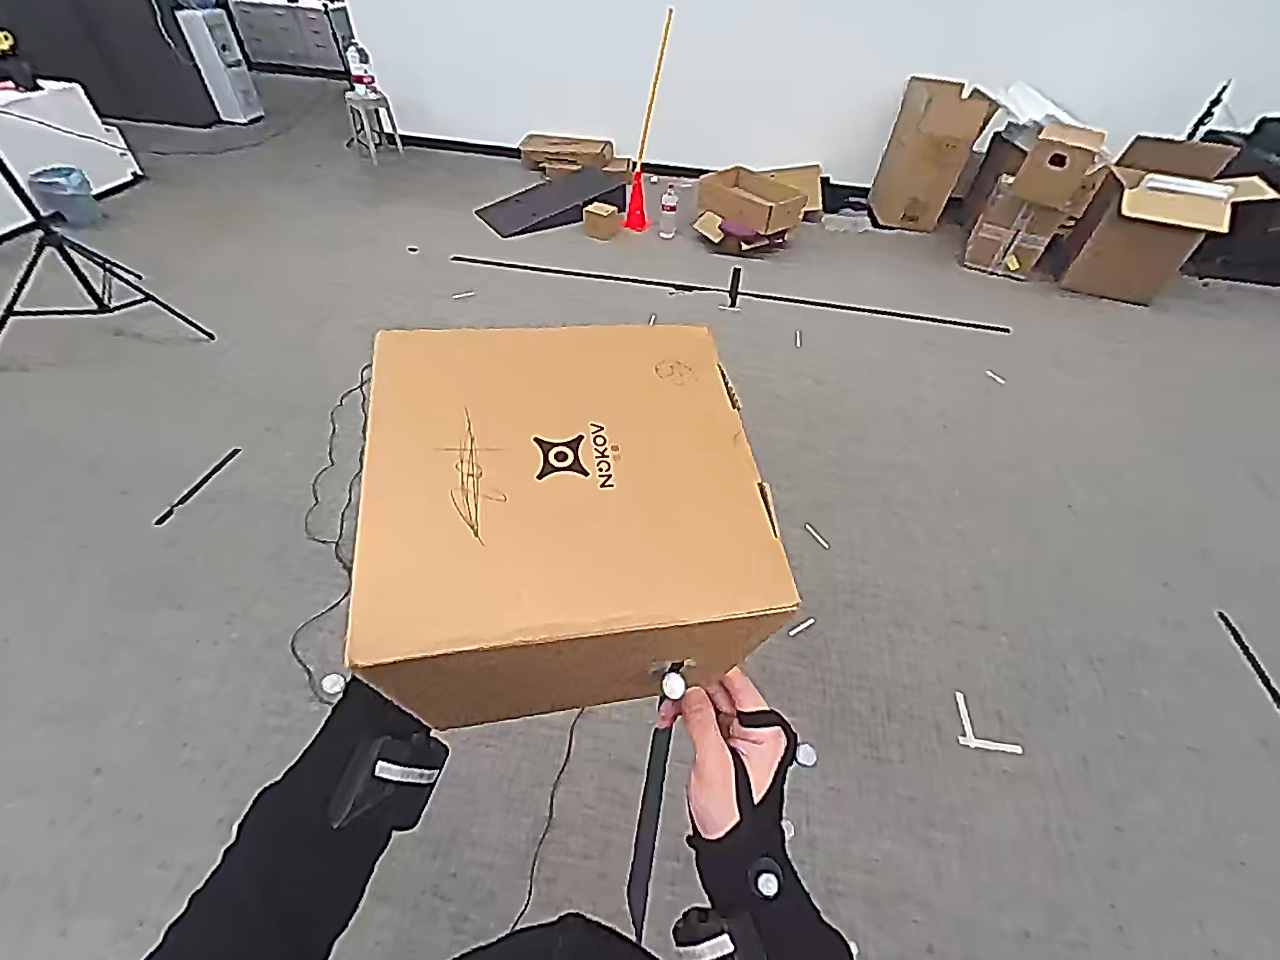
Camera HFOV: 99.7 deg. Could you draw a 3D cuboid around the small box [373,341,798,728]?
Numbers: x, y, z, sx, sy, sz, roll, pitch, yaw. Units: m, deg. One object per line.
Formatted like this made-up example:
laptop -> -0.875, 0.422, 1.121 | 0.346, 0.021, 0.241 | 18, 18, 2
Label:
small box -> -0.038, 0.038, 0.323 | 0.179, 0.176, 0.168 | -6, 59, -11
